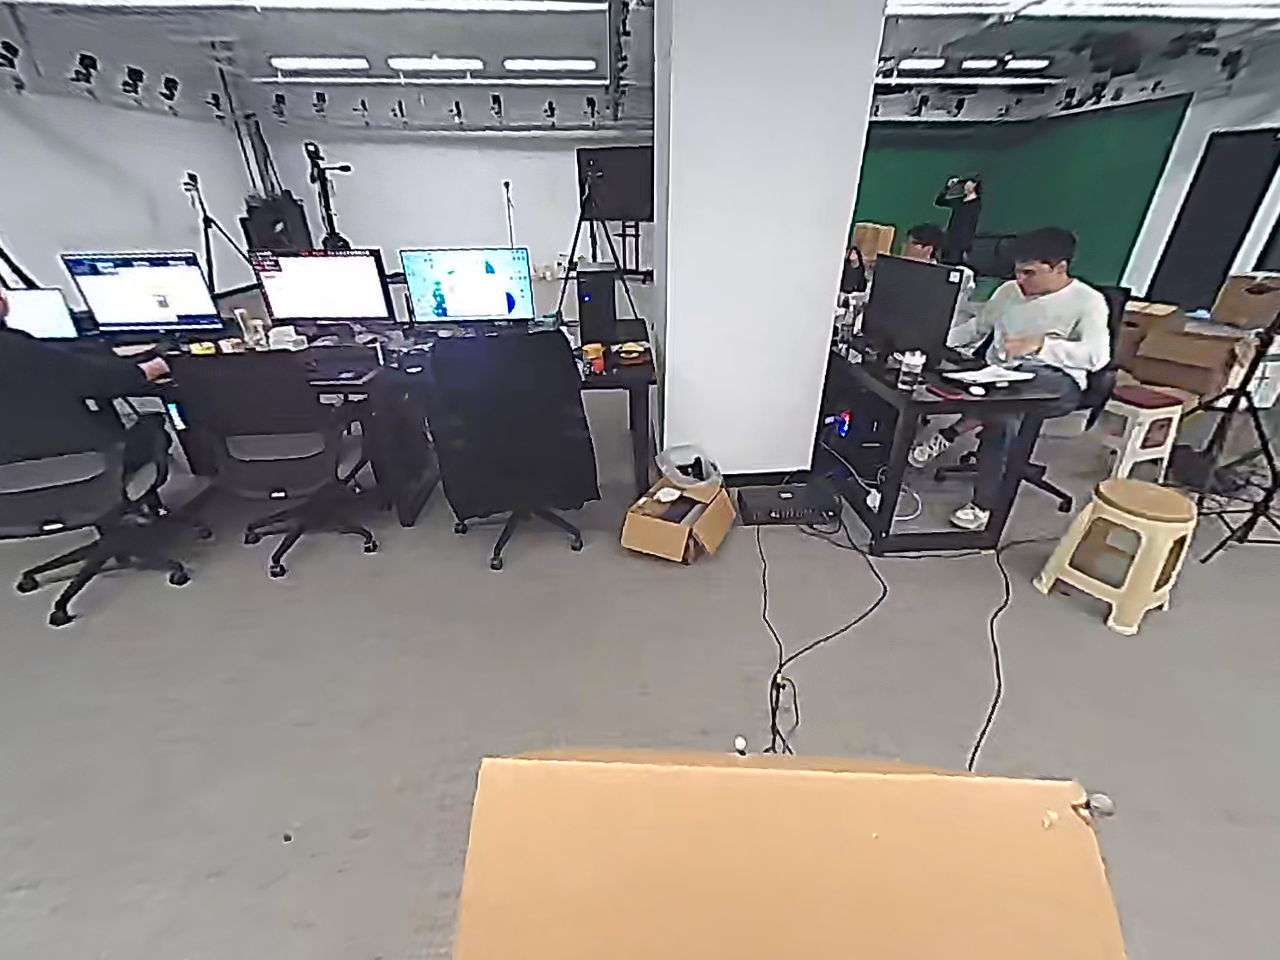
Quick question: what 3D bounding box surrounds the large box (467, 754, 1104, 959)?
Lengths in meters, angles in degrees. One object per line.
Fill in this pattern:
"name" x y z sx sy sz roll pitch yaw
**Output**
"large box" 0.089 0.408 0.454 0.408 0.320 0.320 1 67 2
